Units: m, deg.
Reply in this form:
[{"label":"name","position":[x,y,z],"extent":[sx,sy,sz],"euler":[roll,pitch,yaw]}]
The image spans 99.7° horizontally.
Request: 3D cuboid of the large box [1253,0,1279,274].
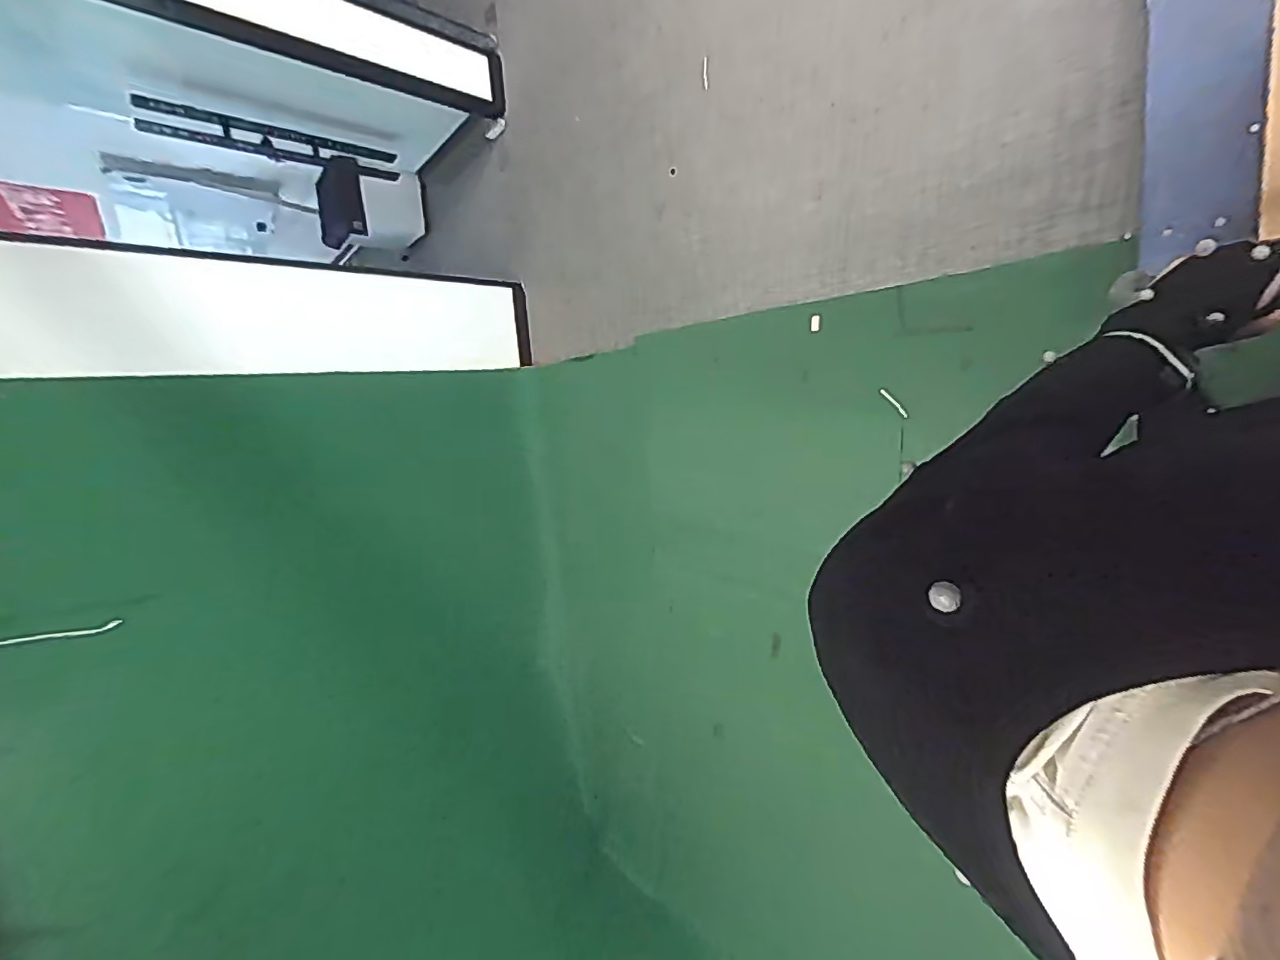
[{"label":"large box","position":[1.076,-0.540,0.734],"extent":[0.320,0.320,0.408],"euler":[3,99,47]}]
